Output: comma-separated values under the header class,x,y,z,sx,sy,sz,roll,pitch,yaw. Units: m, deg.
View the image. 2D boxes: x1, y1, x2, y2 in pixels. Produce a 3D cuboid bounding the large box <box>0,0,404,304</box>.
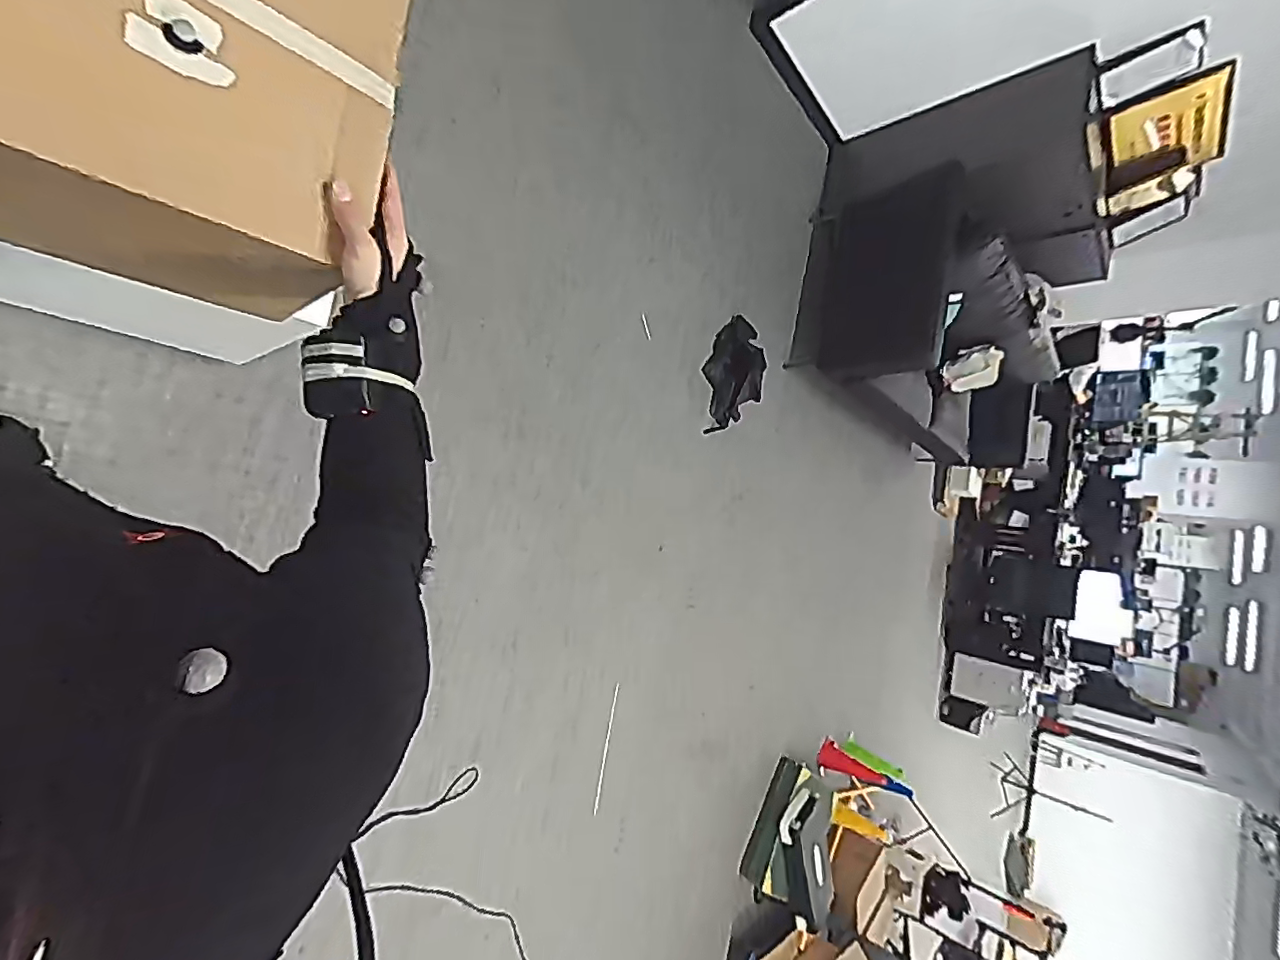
class,x,y,z,sx,sy,sz,roll,pitch,yaw
large box,-0.463,-0.375,0.436,0.408,0.320,0.320,10,89,-46
